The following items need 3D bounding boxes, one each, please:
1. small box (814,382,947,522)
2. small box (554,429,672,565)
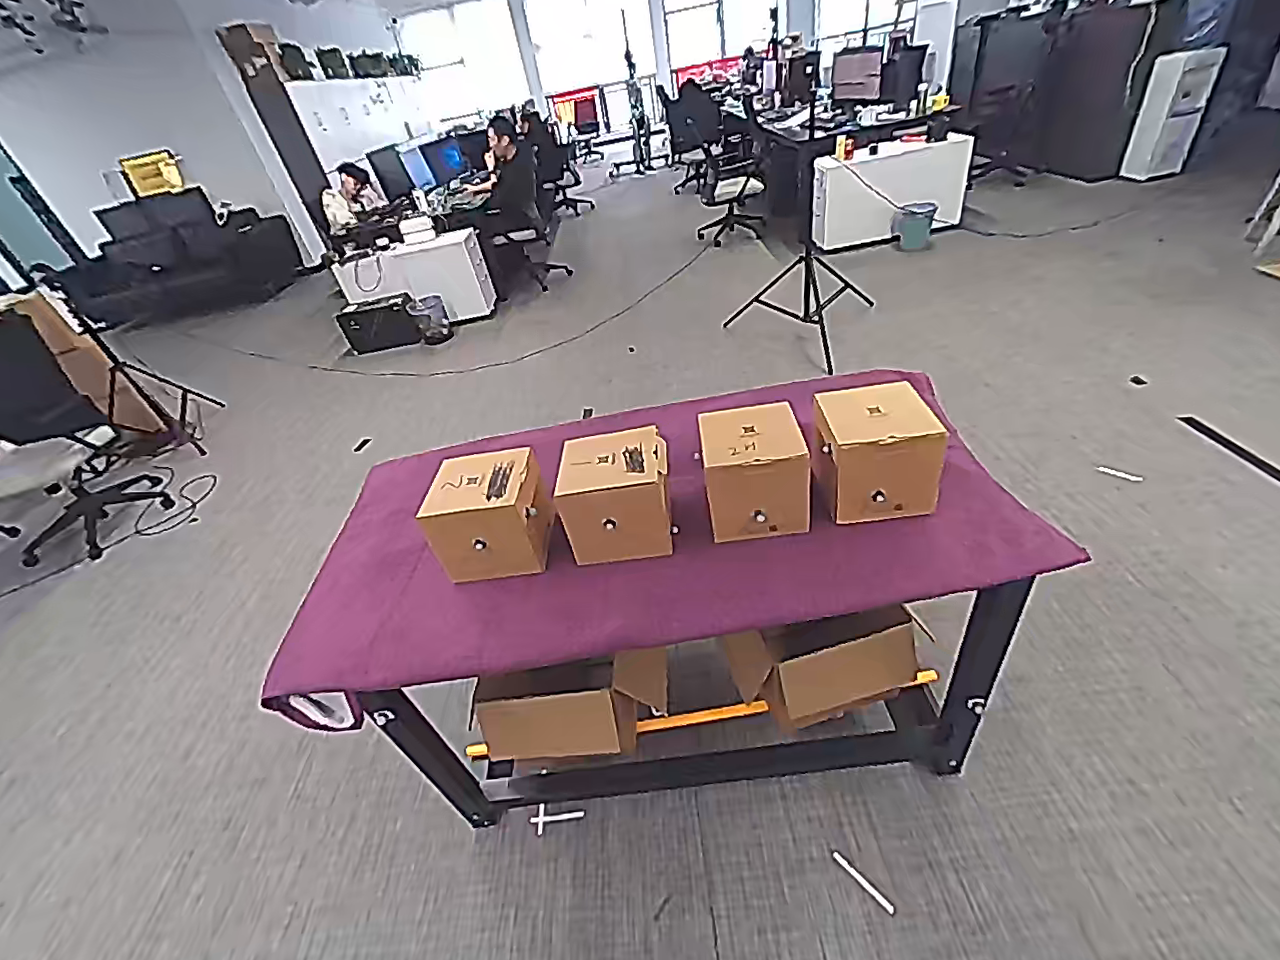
[{"bbox_3d":[0.407,-0.050,0.950,0.168,0.176,0.179,-8,36,7],"label":"small box"},{"bbox_3d":[-0.038,0.033,0.978,0.179,0.176,0.168,-9,37,8],"label":"small box"}]
